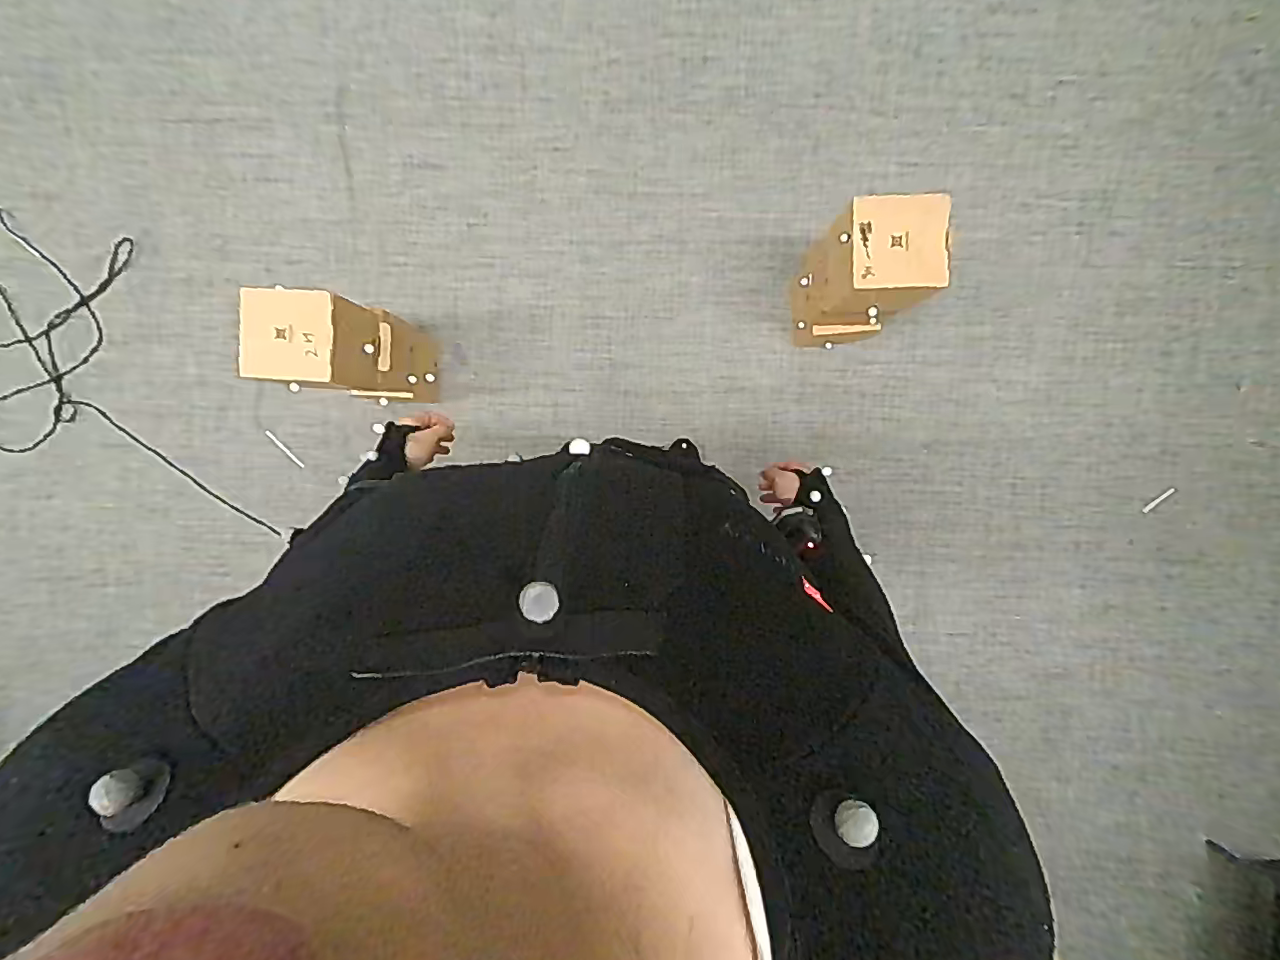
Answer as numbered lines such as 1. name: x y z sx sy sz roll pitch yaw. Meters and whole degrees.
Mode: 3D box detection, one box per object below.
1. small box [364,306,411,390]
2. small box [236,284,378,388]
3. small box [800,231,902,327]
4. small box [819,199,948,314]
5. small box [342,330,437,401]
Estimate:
1. small box: -0.639 -0.297 1.228 0.179 0.176 0.168 4 93 2
2. small box: -0.647 -0.274 1.064 0.179 0.176 0.168 3 94 1
3. small box: 0.474 -0.447 1.222 0.179 0.176 0.168 0 93 1
4. small box: 0.468 -0.430 1.058 0.179 0.176 0.168 -1 93 0
5. small box: -0.637 -0.296 1.392 0.179 0.176 0.168 3 93 1
